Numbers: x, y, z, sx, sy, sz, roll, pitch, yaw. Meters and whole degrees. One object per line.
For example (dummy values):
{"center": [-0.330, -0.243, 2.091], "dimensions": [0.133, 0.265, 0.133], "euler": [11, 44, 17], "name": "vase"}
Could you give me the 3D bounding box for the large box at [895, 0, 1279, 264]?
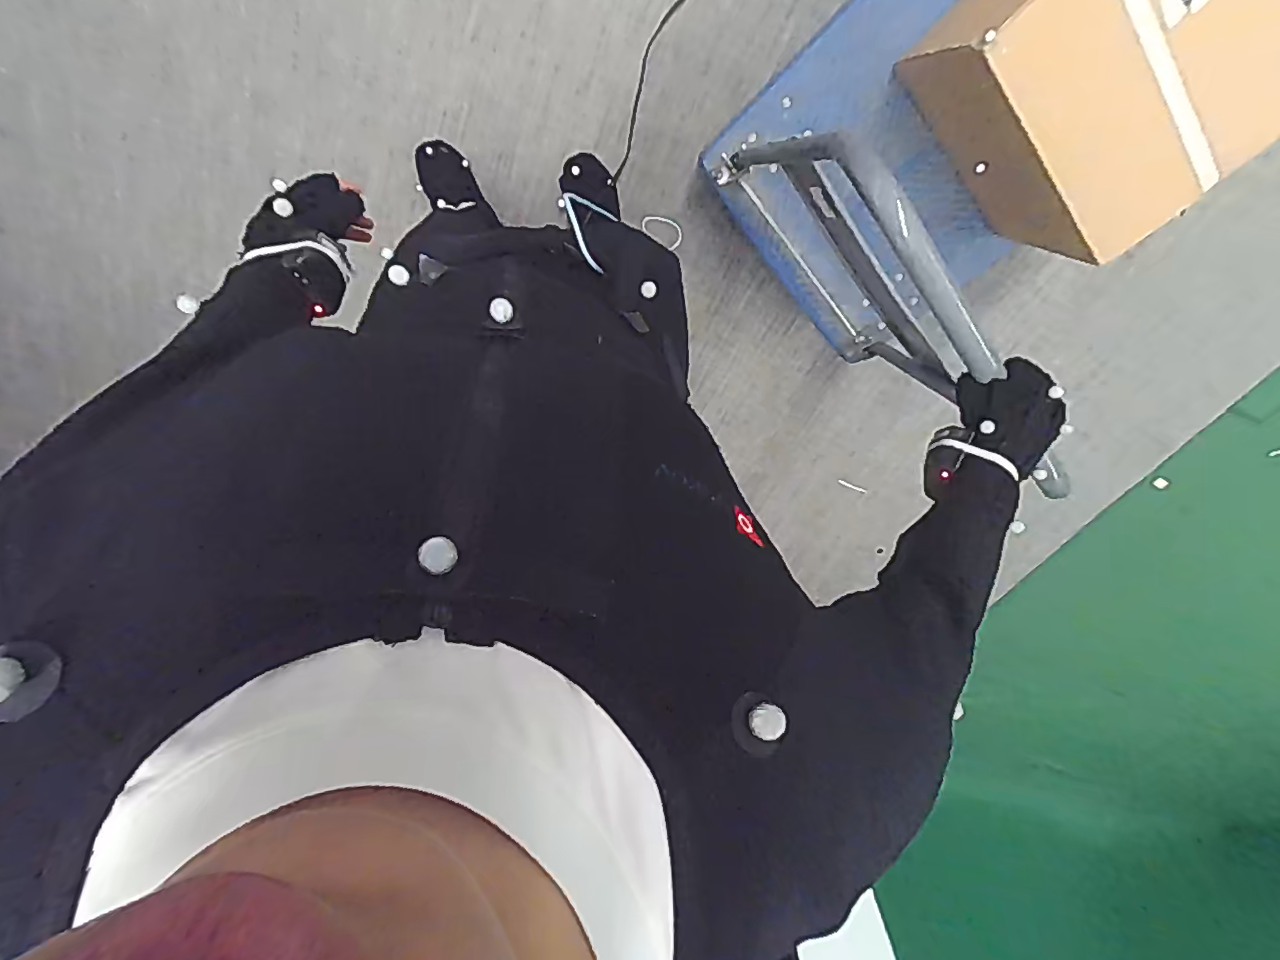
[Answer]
{"center": [0.694, -0.627, 0.857], "dimensions": [0.408, 0.320, 0.320], "euler": [39, 115, -22], "name": "large box"}
